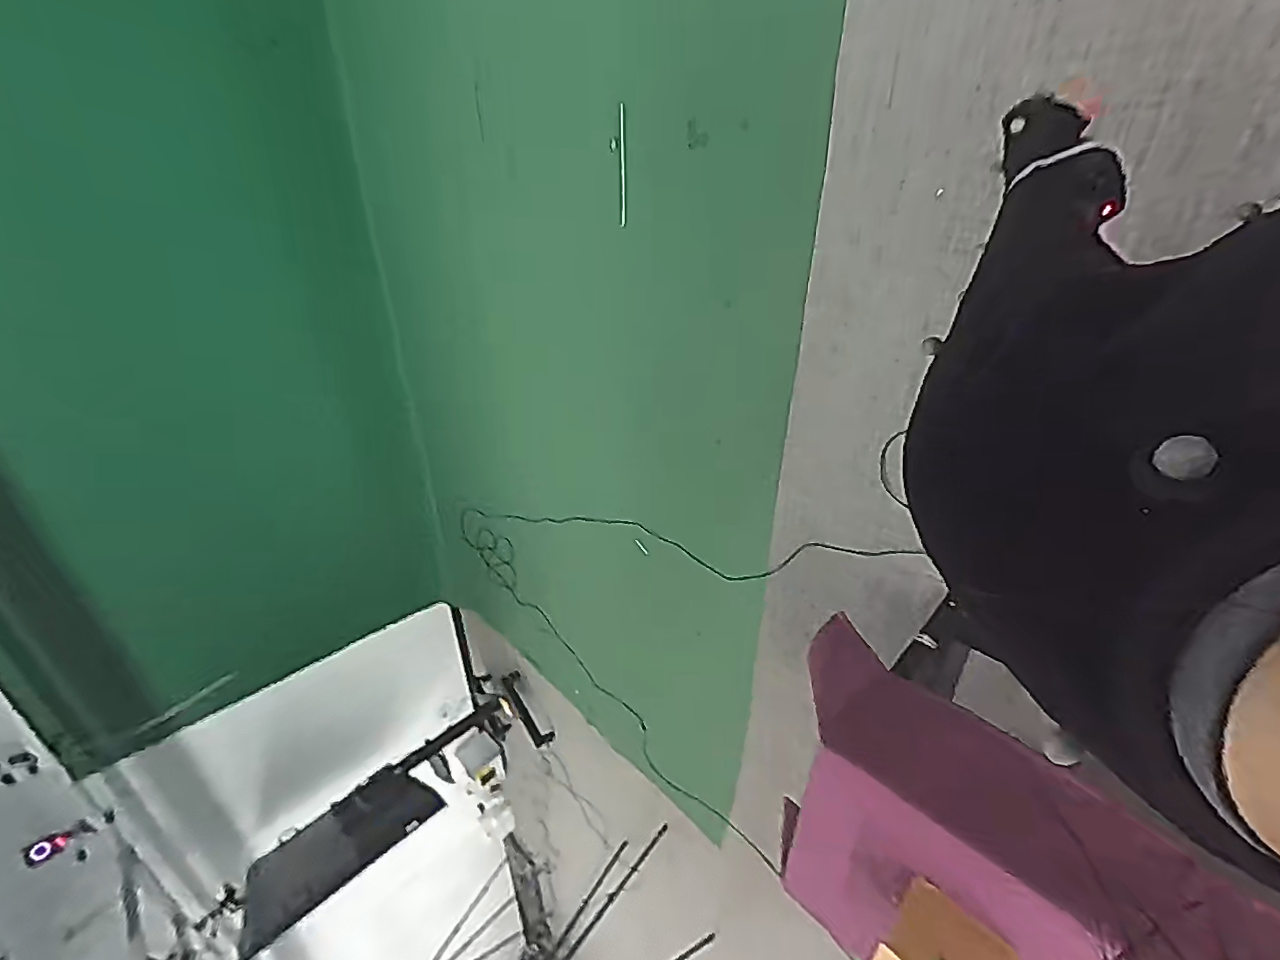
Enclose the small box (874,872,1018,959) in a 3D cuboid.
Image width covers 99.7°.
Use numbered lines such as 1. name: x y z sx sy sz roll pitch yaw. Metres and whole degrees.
1. small box: 0.560 0.889 1.000 0.179 0.176 0.168 28 129 38
